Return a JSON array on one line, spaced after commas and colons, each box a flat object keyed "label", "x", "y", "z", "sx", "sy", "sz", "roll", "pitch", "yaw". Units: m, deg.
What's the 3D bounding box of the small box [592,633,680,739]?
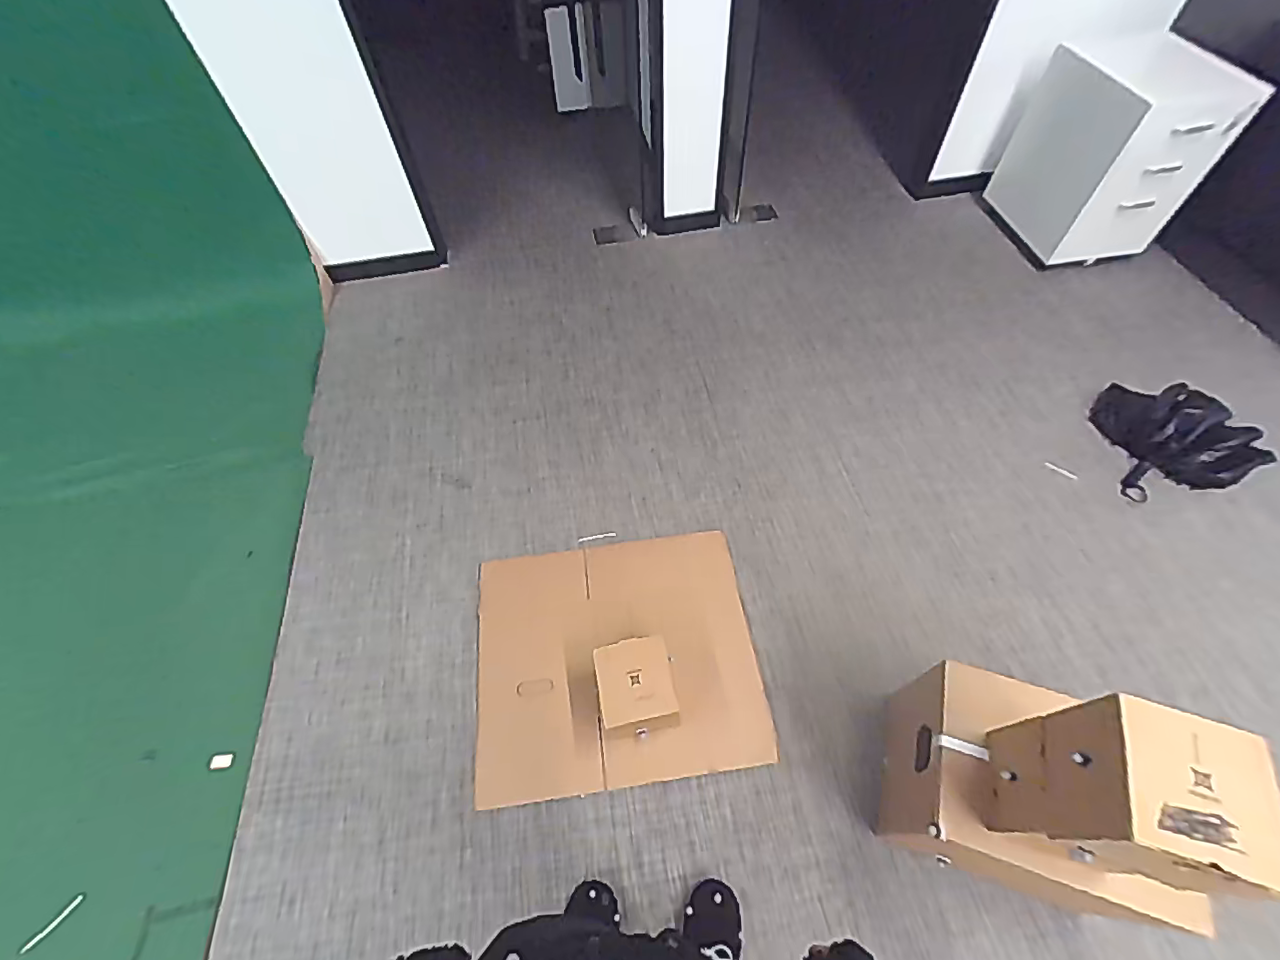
[{"label": "small box", "x": -0.007, "y": 0.479, "z": 1.249, "sx": 0.168, "sy": 0.176, "sz": 0.179, "roll": -14, "pitch": 57, "yaw": -2}]

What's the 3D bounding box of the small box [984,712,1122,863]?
[{"label": "small box", "x": 0.676, "y": 0.492, "z": 0.860, "sx": 0.179, "sy": 0.176, "sz": 0.168, "roll": 12, "pitch": 56, "yaw": 9}]

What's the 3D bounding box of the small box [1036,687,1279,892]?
[{"label": "small box", "x": 0.661, "y": 0.406, "z": 0.717, "sx": 0.168, "sy": 0.176, "sz": 0.179, "roll": 16, "pitch": 58, "yaw": 12}]
